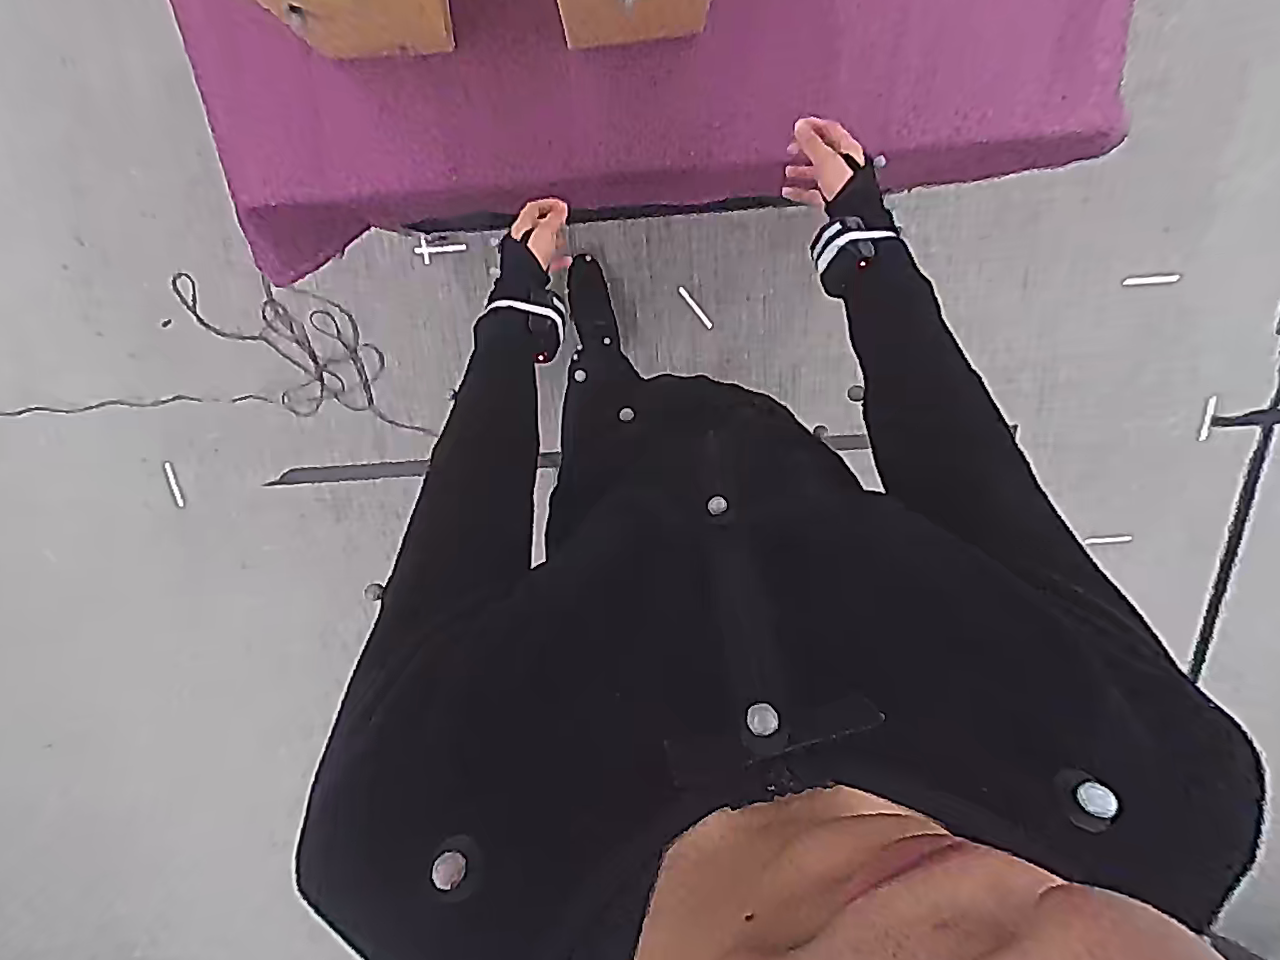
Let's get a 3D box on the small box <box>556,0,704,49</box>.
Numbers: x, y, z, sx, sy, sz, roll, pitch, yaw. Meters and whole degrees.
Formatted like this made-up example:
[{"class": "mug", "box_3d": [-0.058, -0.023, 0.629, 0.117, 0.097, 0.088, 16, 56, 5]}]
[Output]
[{"class": "small box", "box_3d": [-0.016, -0.614, 0.598, 0.179, 0.176, 0.168, -7, 109, 0]}]
